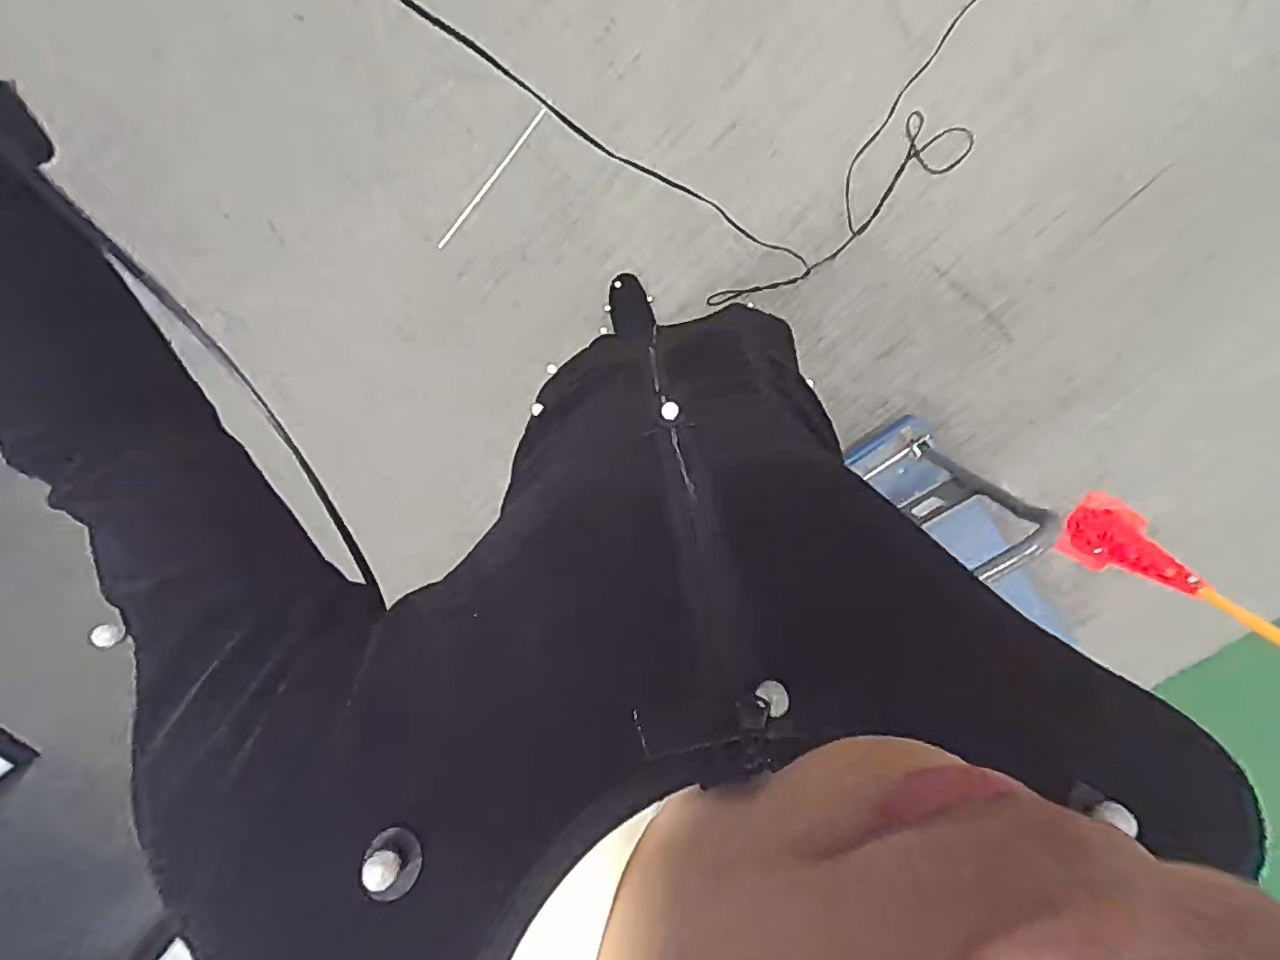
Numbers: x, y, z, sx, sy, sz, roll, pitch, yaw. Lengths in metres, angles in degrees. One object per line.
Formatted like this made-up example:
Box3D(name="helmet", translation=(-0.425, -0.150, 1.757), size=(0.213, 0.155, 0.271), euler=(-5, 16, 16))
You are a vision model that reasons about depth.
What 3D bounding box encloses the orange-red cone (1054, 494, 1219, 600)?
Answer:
Box3D(name="orange-red cone", translation=(1.336, 0.208, 1.419), size=(0.198, 0.360, 0.199), euler=(30, 107, -6))
